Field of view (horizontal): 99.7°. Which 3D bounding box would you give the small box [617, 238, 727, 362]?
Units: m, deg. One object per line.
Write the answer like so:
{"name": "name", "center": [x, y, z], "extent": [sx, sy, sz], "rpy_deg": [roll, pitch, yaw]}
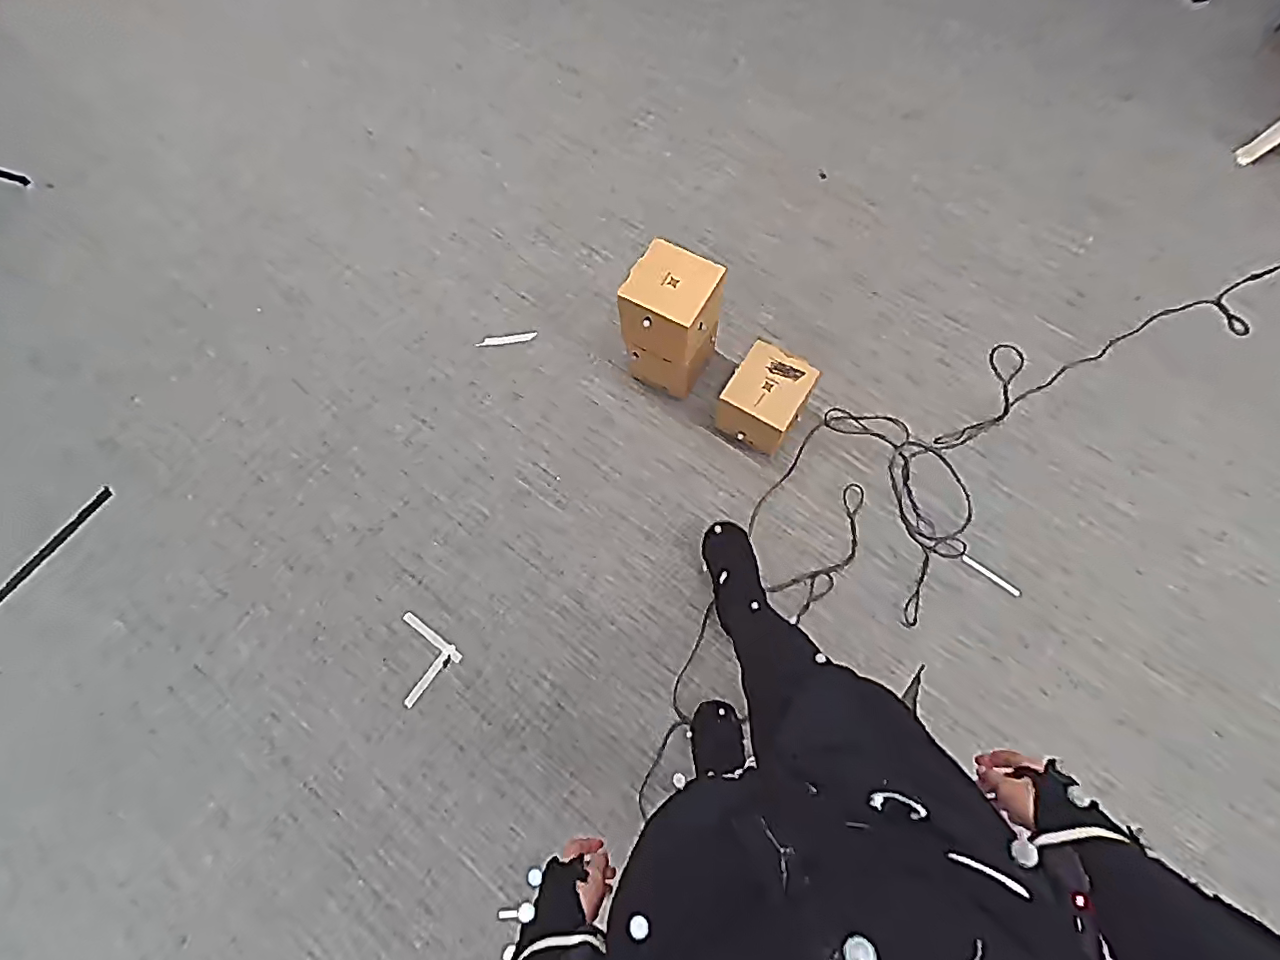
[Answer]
{"name": "small box", "center": [0.071, -0.386, 1.191], "extent": [0.179, 0.176, 0.168], "rpy_deg": [28, 76, 12]}

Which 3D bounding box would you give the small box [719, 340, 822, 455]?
{"name": "small box", "center": [0.300, -0.190, 1.283], "extent": [0.168, 0.176, 0.179], "rpy_deg": [32, 77, 13]}
